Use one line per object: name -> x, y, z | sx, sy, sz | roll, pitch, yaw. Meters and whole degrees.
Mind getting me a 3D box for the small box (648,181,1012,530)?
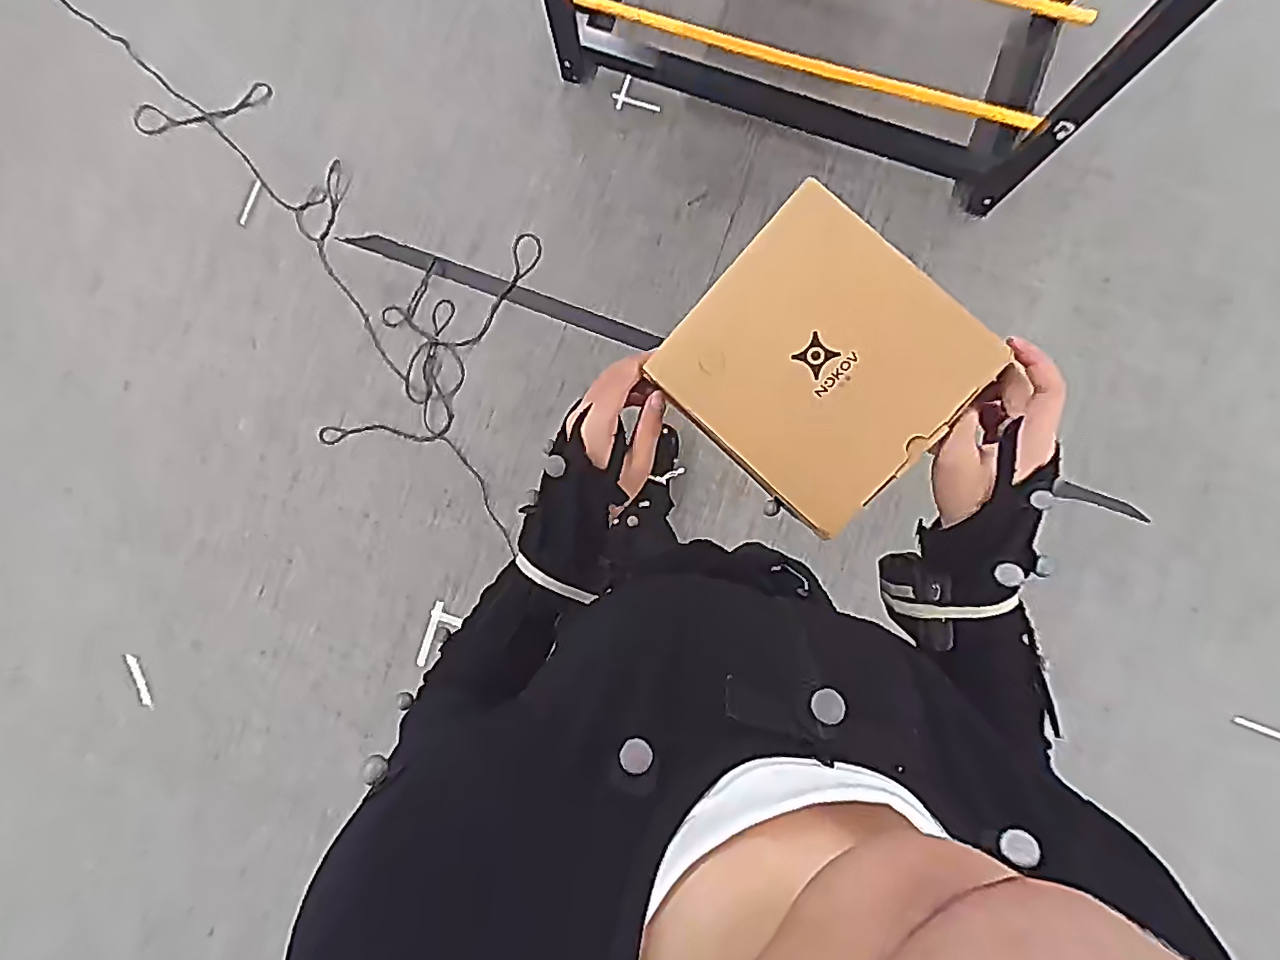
small box -> 0.130, -0.084, 0.434 | 0.179, 0.176, 0.168 | 43, 98, 3
